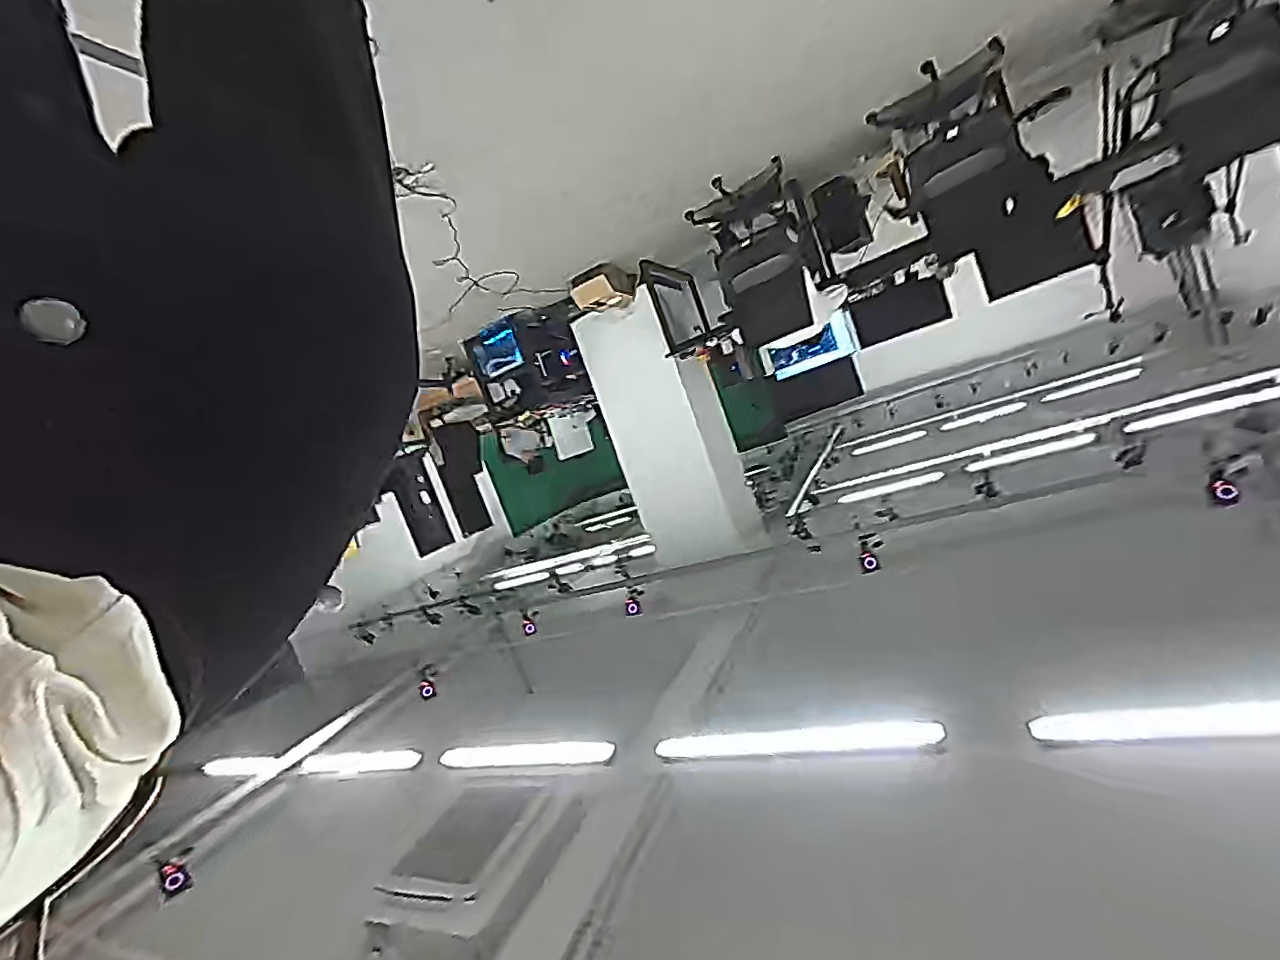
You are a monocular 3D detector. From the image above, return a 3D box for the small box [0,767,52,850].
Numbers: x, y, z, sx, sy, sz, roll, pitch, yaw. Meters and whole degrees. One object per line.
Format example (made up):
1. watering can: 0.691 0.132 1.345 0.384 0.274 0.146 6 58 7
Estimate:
1. small box: -1.720 0.881 1.418 0.179 0.176 0.168 -16 -173 27
